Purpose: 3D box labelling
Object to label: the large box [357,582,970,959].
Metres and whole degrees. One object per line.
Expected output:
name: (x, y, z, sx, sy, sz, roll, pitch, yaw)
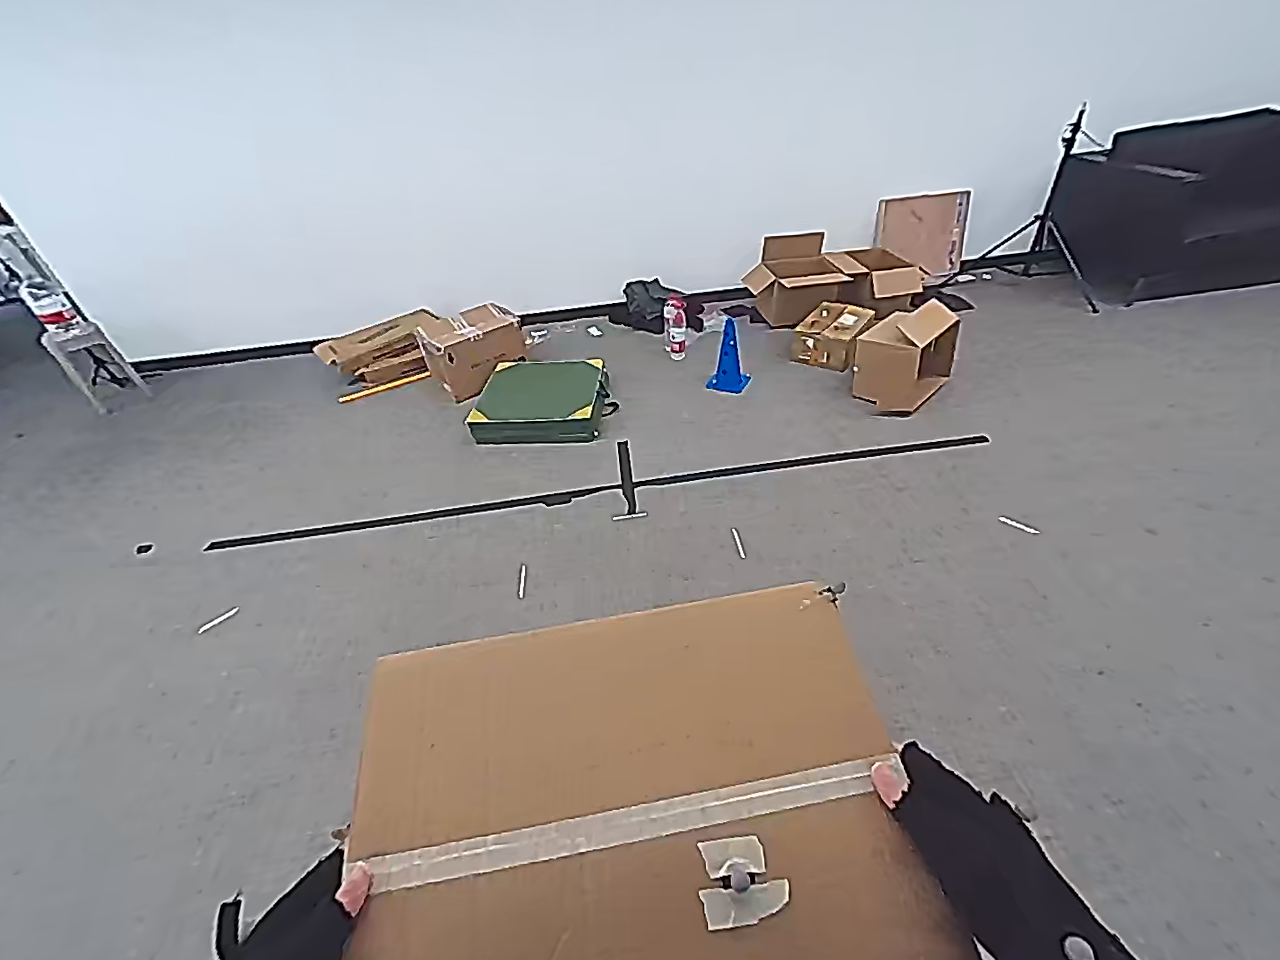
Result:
large box: (0.001, 0.336, 0.525, 0.408, 0.320, 0.320, -9, 54, -4)
